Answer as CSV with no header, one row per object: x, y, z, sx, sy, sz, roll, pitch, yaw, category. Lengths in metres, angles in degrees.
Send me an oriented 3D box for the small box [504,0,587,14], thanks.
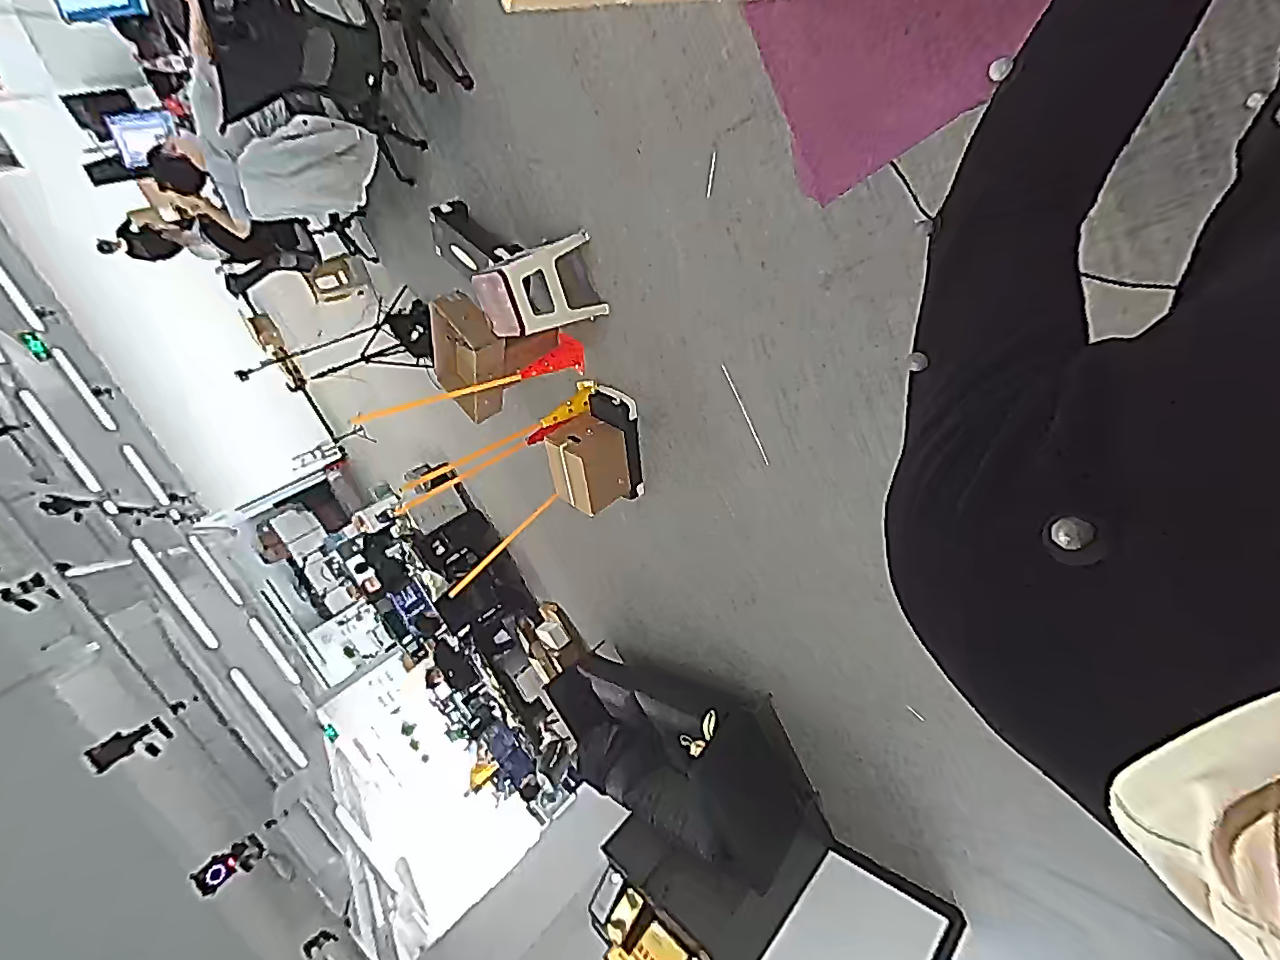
-0.071,-0.594,0.503,0.168,0.176,0.179,-14,107,59,small box
